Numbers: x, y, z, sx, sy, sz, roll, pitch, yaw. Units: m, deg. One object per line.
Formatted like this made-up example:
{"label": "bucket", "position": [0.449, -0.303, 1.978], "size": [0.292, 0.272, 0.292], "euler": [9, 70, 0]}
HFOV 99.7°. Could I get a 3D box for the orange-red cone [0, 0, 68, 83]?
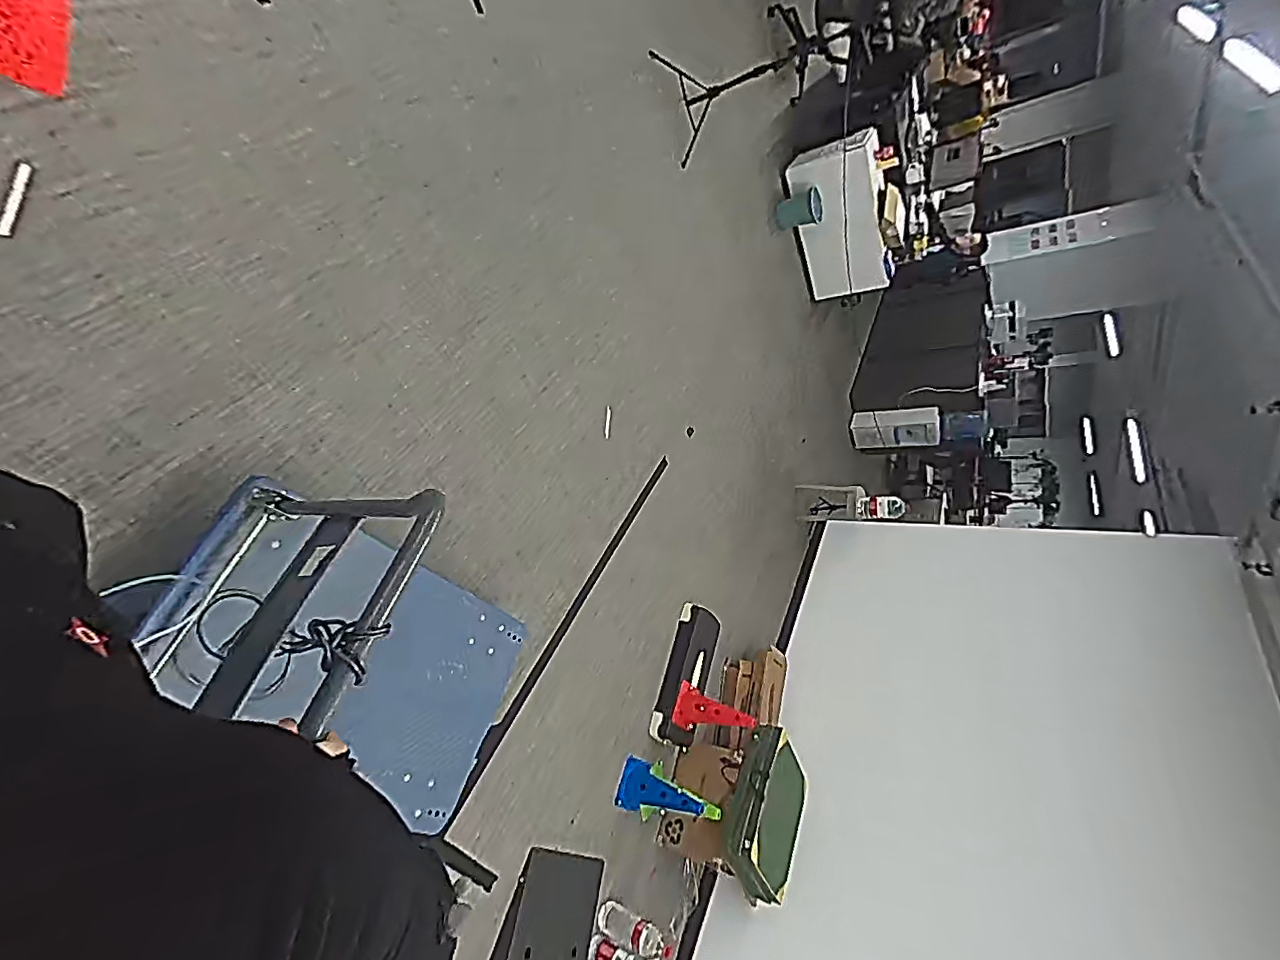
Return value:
{"label": "orange-red cone", "position": [-0.962, -0.800, 0.798], "size": [0.198, 0.360, 0.199], "euler": [7, 86, -54]}
